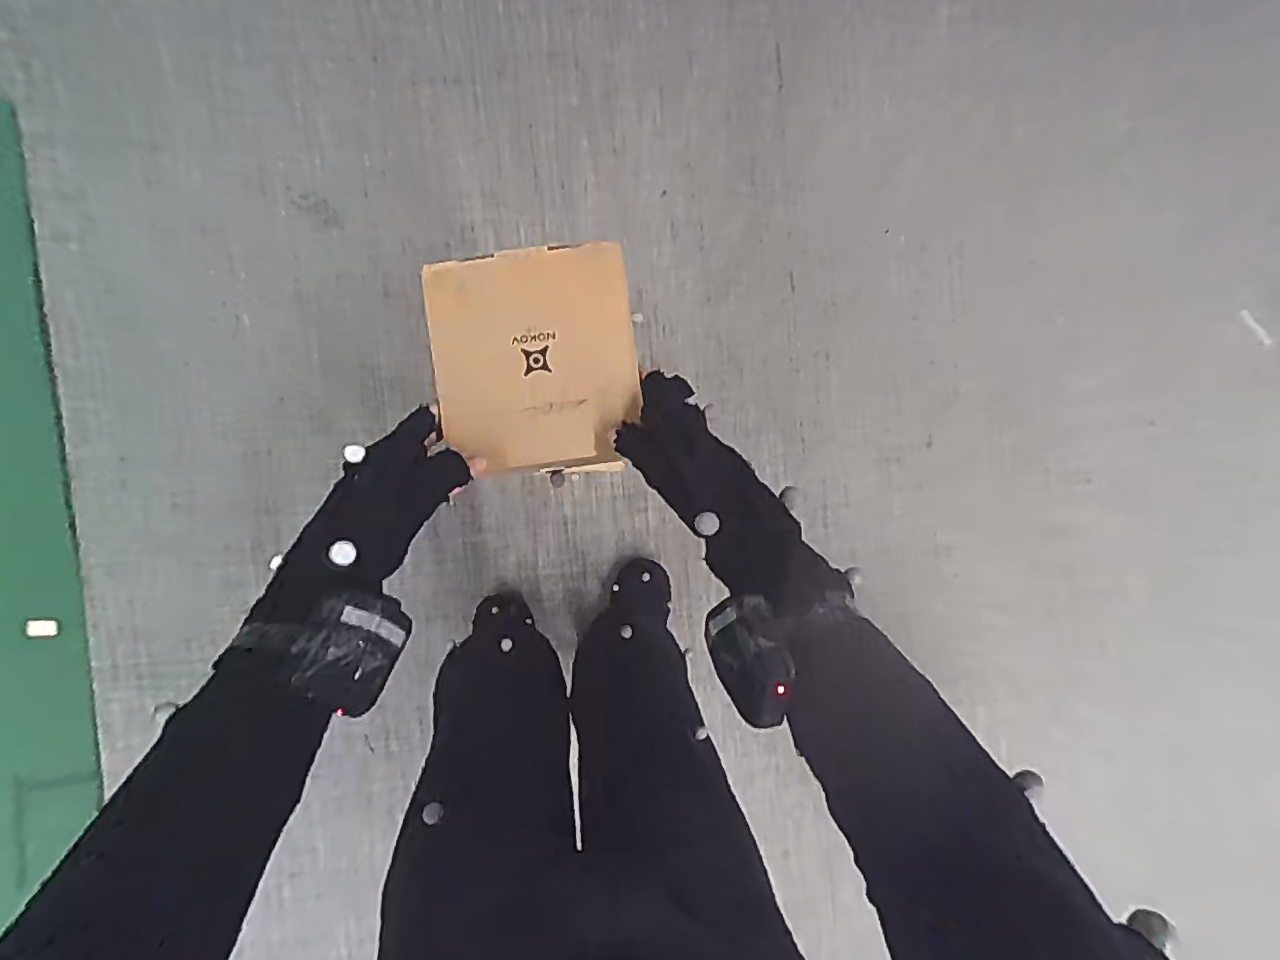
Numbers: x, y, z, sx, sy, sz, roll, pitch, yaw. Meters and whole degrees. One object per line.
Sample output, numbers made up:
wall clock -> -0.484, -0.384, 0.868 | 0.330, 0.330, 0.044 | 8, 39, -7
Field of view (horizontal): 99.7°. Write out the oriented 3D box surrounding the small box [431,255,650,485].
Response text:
small box -> -0.086, -0.093, 0.534 | 0.168, 0.176, 0.179 | -9, 89, -1
